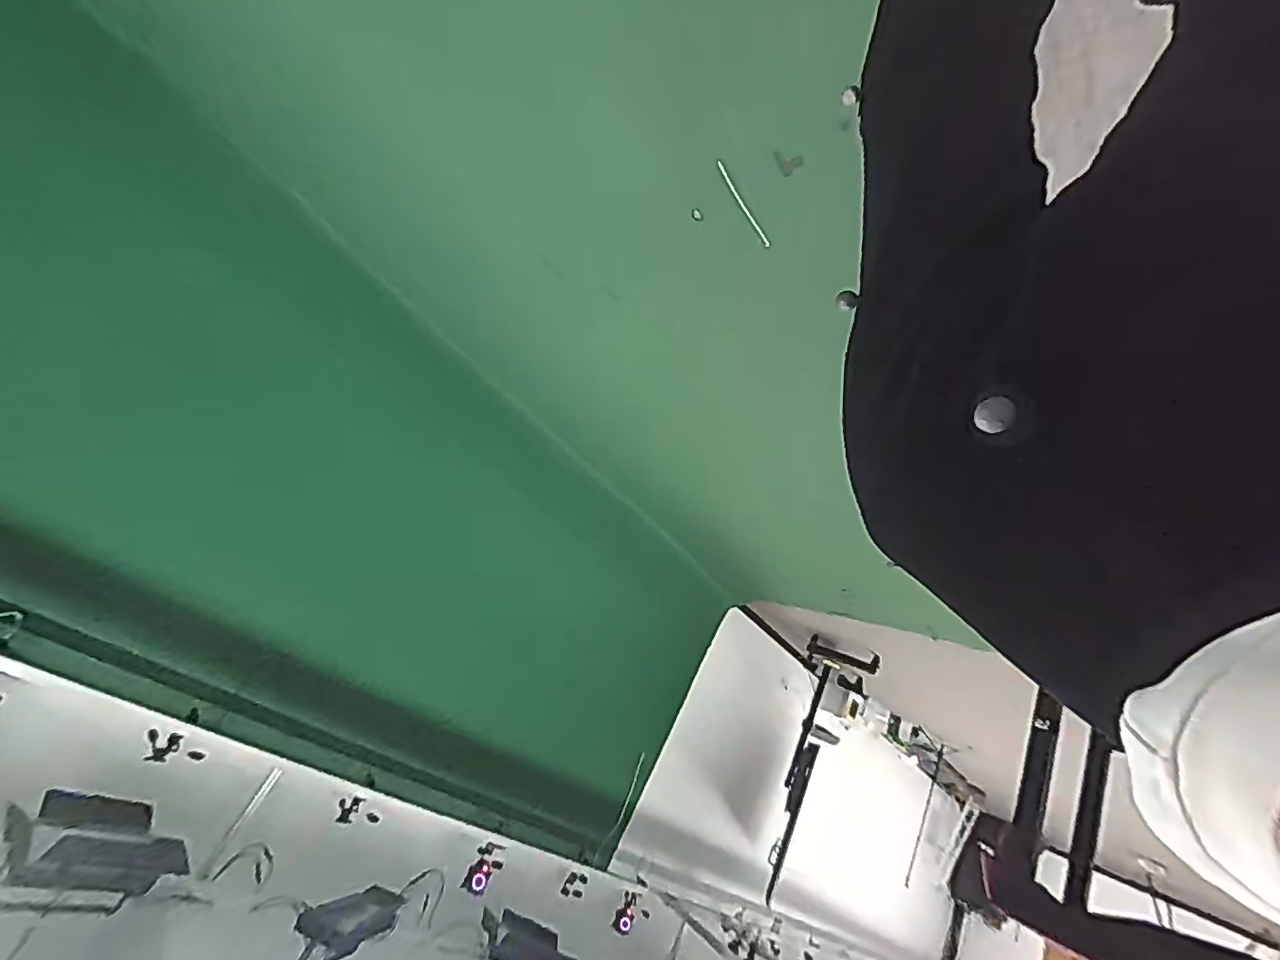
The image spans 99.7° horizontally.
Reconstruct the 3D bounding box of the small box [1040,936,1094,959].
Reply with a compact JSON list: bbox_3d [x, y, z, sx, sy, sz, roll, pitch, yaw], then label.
[{"bbox_3d":[1.015,1.185,1.221,0.179,0.176,0.168,45,154,-29],"label":"small box"}]
